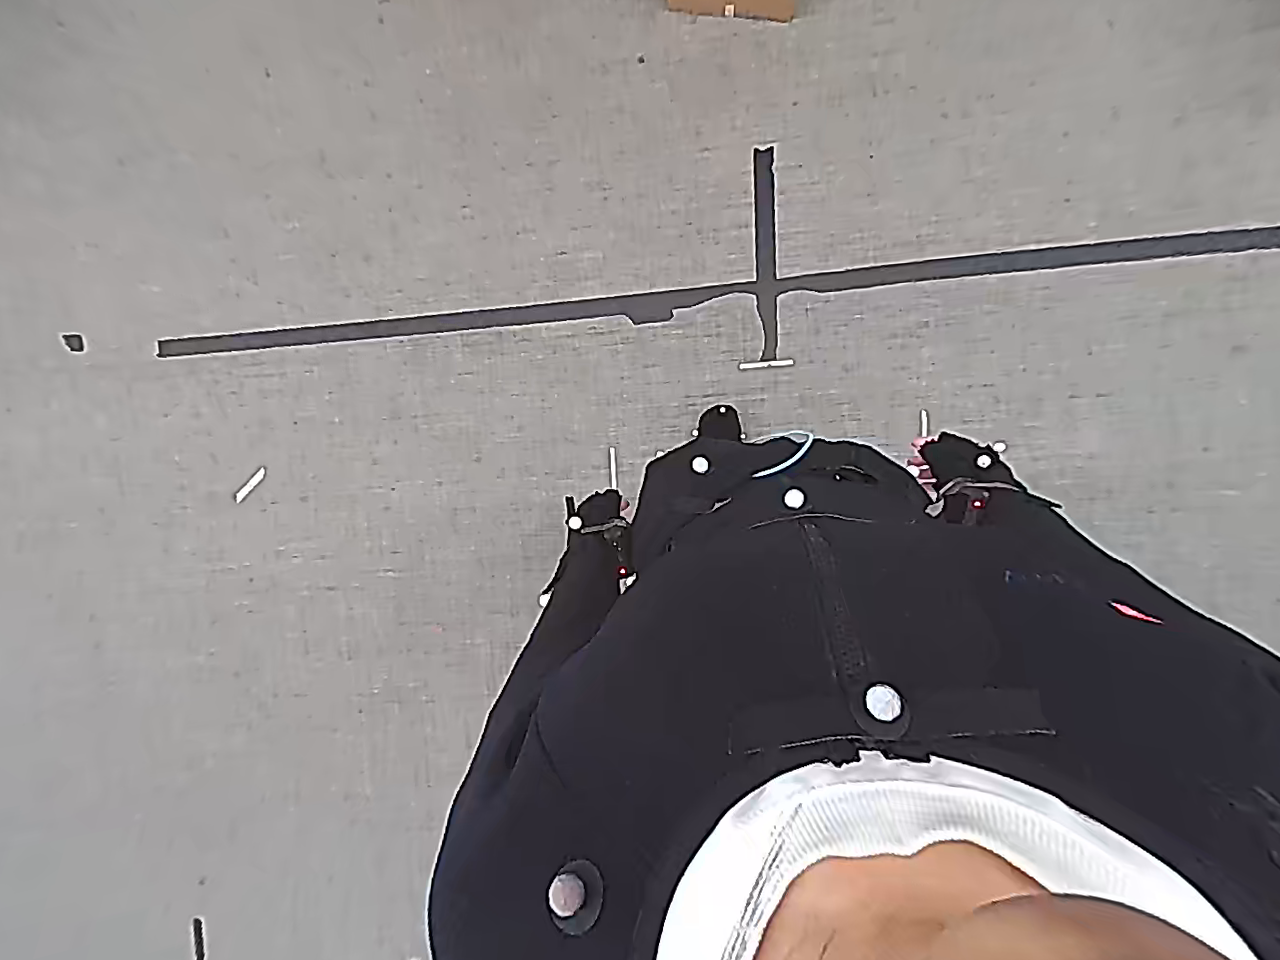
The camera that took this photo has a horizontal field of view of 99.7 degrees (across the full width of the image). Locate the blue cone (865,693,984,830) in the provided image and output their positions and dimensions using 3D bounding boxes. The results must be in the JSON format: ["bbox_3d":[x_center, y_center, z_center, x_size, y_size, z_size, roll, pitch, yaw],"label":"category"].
[{"bbox_3d":[0.677,0.668,1.264,0.192,0.380,0.193,2,95,5],"label":"blue cone"}]
